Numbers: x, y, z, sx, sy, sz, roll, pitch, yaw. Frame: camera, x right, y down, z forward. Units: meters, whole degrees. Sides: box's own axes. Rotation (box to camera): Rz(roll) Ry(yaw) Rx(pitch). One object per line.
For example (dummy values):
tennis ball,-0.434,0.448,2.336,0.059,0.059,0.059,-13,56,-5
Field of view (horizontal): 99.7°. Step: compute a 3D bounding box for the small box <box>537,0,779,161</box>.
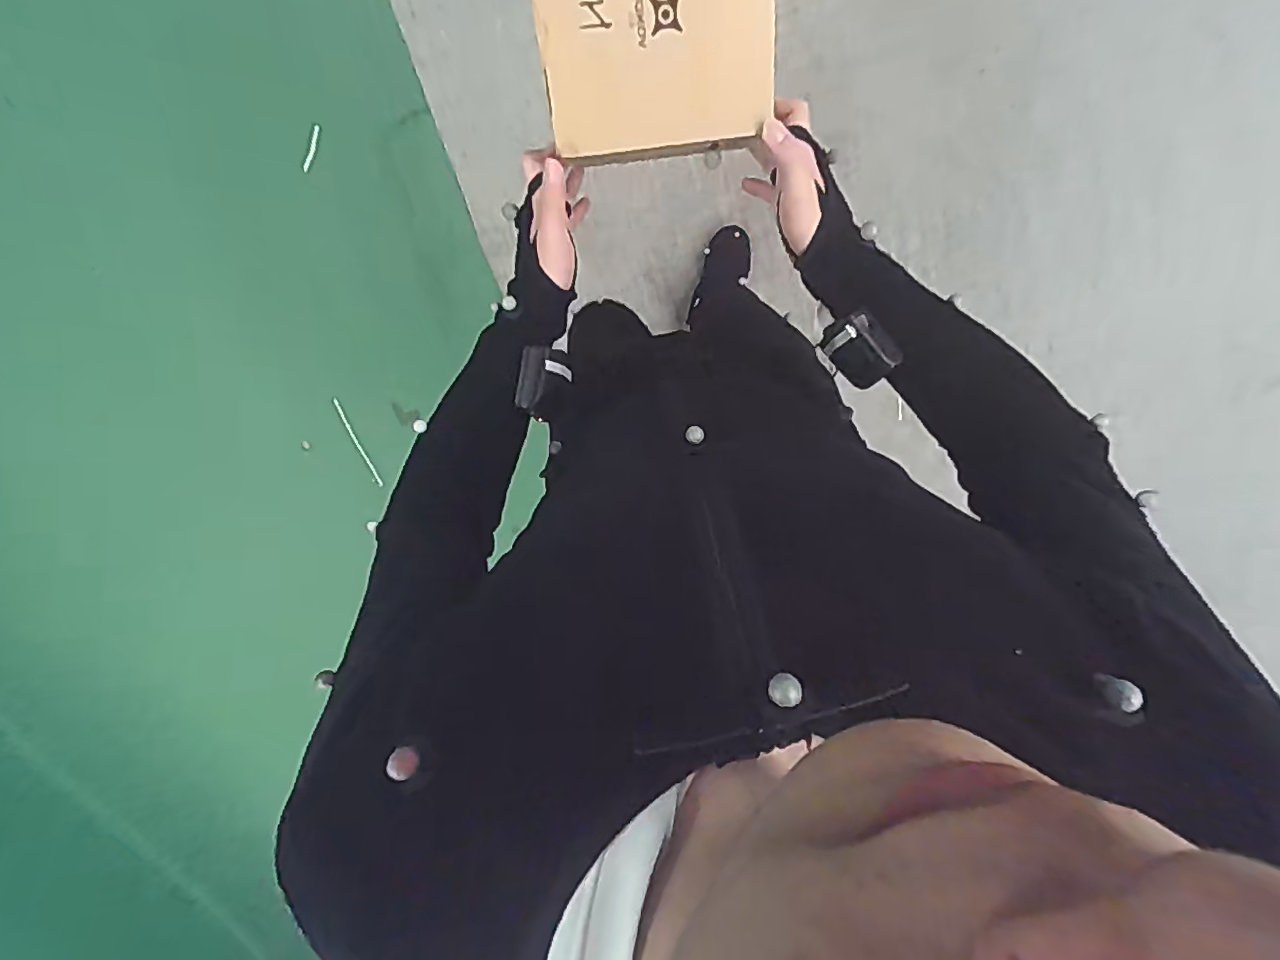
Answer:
small box,0.015,-0.376,0.460,0.179,0.176,0.168,-4,118,4
